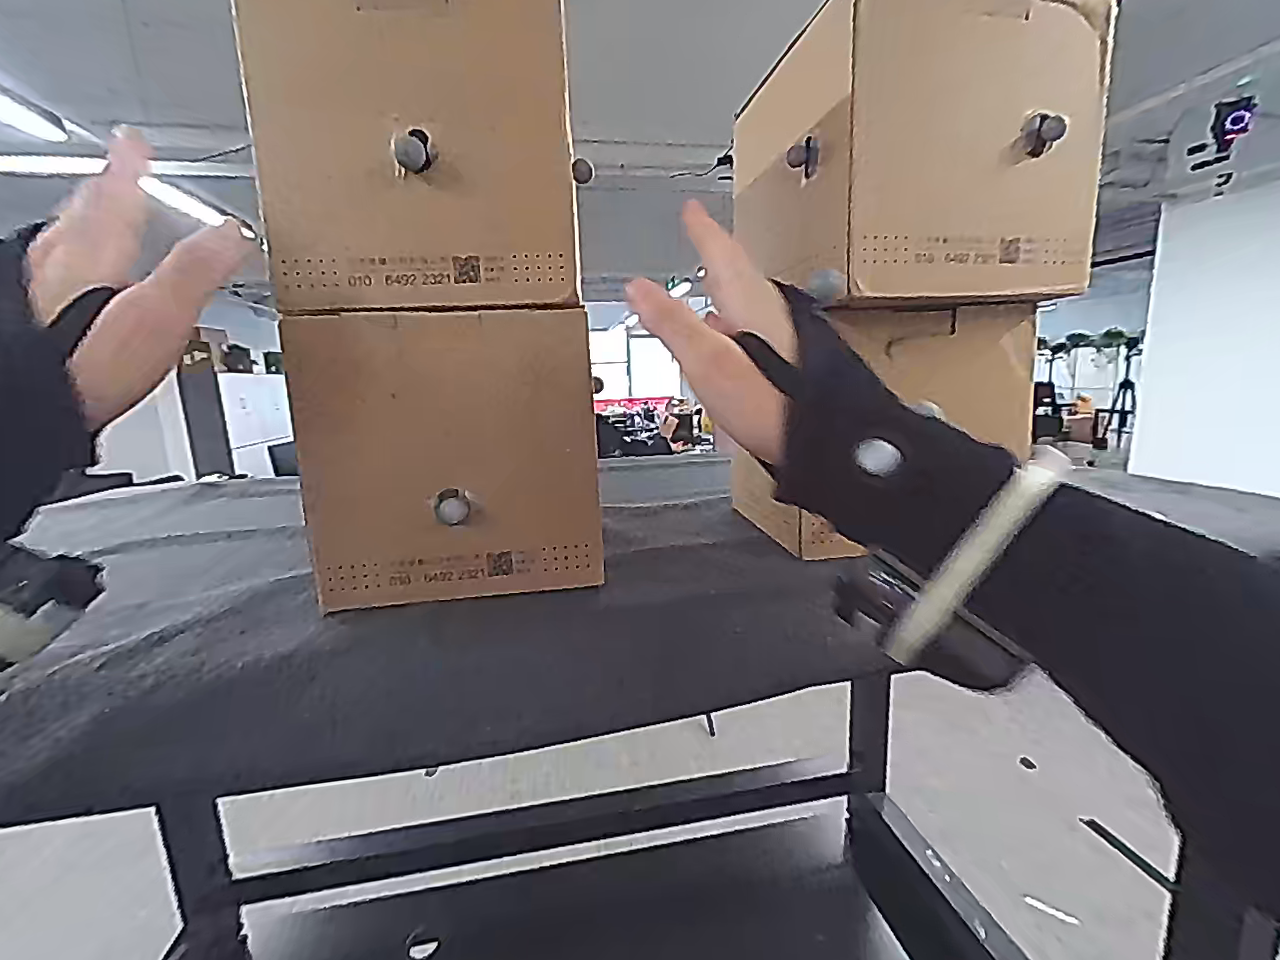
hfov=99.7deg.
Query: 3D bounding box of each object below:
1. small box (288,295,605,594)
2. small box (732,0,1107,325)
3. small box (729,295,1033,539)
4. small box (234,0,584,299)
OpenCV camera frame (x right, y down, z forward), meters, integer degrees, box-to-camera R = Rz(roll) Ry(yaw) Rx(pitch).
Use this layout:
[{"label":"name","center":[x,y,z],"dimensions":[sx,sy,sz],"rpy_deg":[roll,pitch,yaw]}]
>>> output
[{"label":"small box","center":[-0.117,-0.028,0.389],"dimensions":[0.168,0.176,0.179],"rpy_deg":[-5,8,-8]},{"label":"small box","center":[0.174,-0.205,0.384],"dimensions":[0.168,0.176,0.179],"rpy_deg":[-4,9,-12]},{"label":"small box","center":[0.177,-0.050,0.442],"dimensions":[0.168,0.176,0.179],"rpy_deg":[-4,9,-6]},{"label":"small box","center":[-0.124,-0.191,0.366],"dimensions":[0.168,0.176,0.179],"rpy_deg":[-3,9,-6]}]
